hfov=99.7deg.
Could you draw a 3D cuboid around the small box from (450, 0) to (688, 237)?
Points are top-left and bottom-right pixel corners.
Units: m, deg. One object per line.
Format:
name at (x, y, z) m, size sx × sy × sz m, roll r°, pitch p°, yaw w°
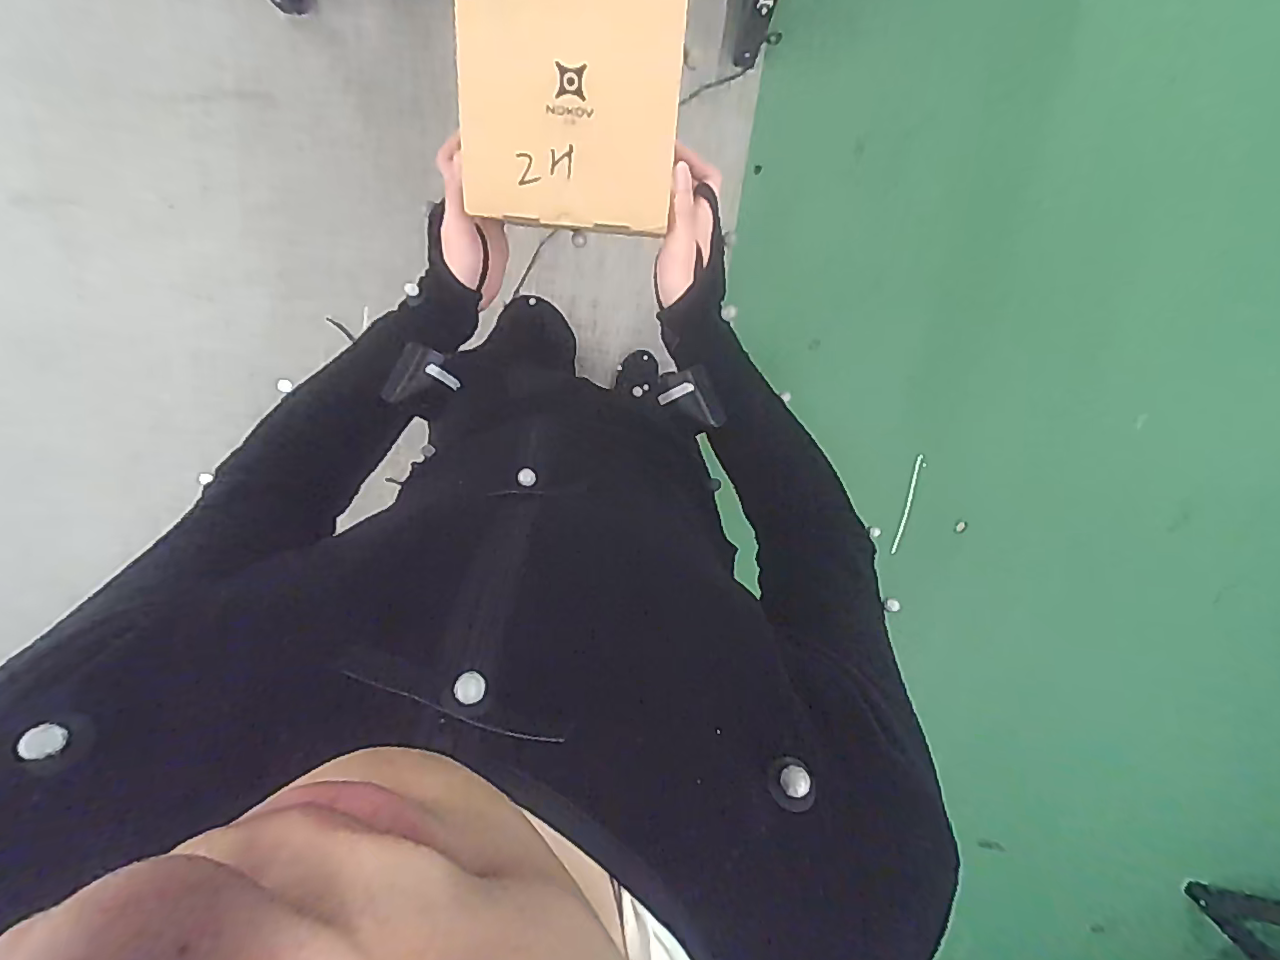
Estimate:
small box at (-0.054, -0.315, 0.466) m, size 0.168 × 0.176 × 0.179 m, roll 5°, pitch 113°, yaw -1°
